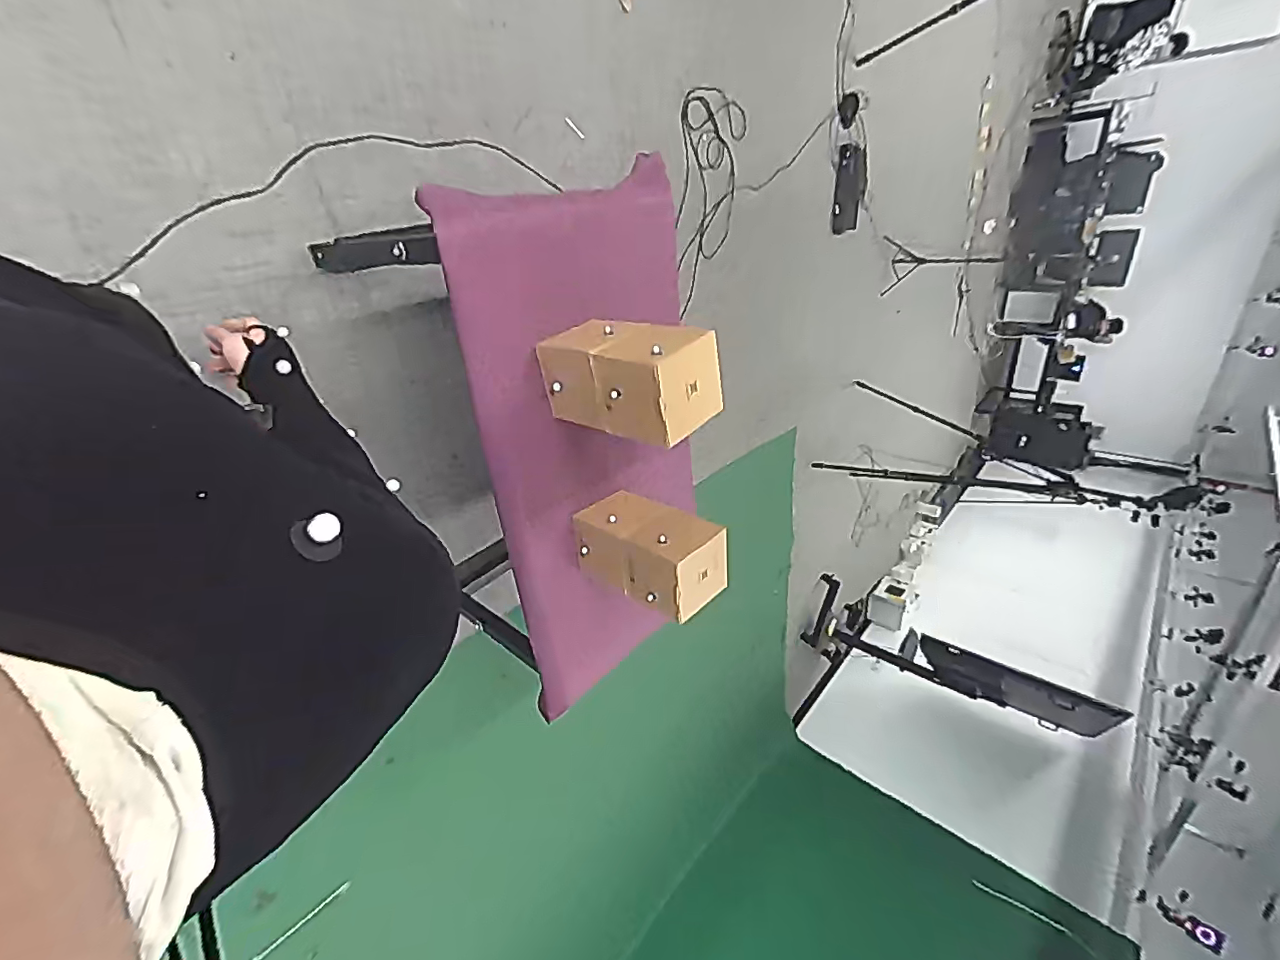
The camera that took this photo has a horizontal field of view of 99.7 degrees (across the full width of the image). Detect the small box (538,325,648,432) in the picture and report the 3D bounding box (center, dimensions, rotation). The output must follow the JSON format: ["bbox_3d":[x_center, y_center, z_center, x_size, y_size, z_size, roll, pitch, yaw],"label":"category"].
[{"bbox_3d":[-0.084,-0.222,1.137,0.179,0.176,0.168,-35,128,-36],"label":"small box"}]

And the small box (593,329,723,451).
[{"bbox_3d":[0.037,-0.181,1.037,0.179,0.176,0.168,-37,129,-34],"label":"small box"}]

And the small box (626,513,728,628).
[{"bbox_3d":[0.082,0.197,1.228,0.179,0.176,0.168,-28,124,-39],"label":"small box"}]
